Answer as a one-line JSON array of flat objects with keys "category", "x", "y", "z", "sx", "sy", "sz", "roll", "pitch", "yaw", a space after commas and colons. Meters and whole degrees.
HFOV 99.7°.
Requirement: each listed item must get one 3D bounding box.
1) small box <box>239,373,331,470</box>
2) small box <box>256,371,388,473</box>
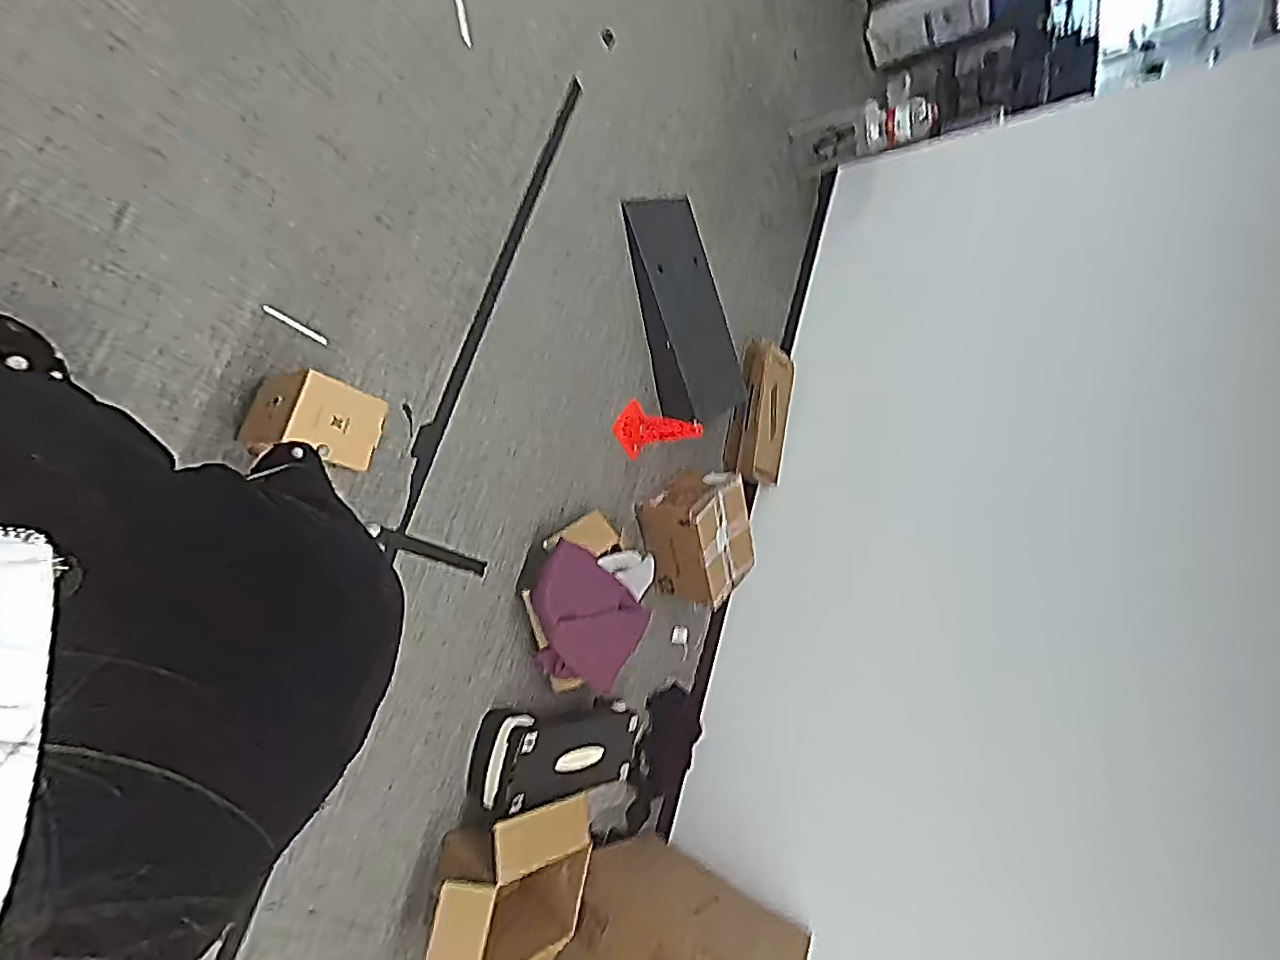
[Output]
[{"category": "small box", "x": -0.818, "y": -0.139, "z": 1.291, "sx": 0.168, "sy": 0.176, "sz": 0.179, "roll": 30, "pitch": 72, "yaw": -47}, {"category": "small box", "x": -0.696, "y": -0.123, "z": 1.185, "sx": 0.179, "sy": 0.176, "sz": 0.168, "roll": 27, "pitch": 72, "yaw": -47}]
